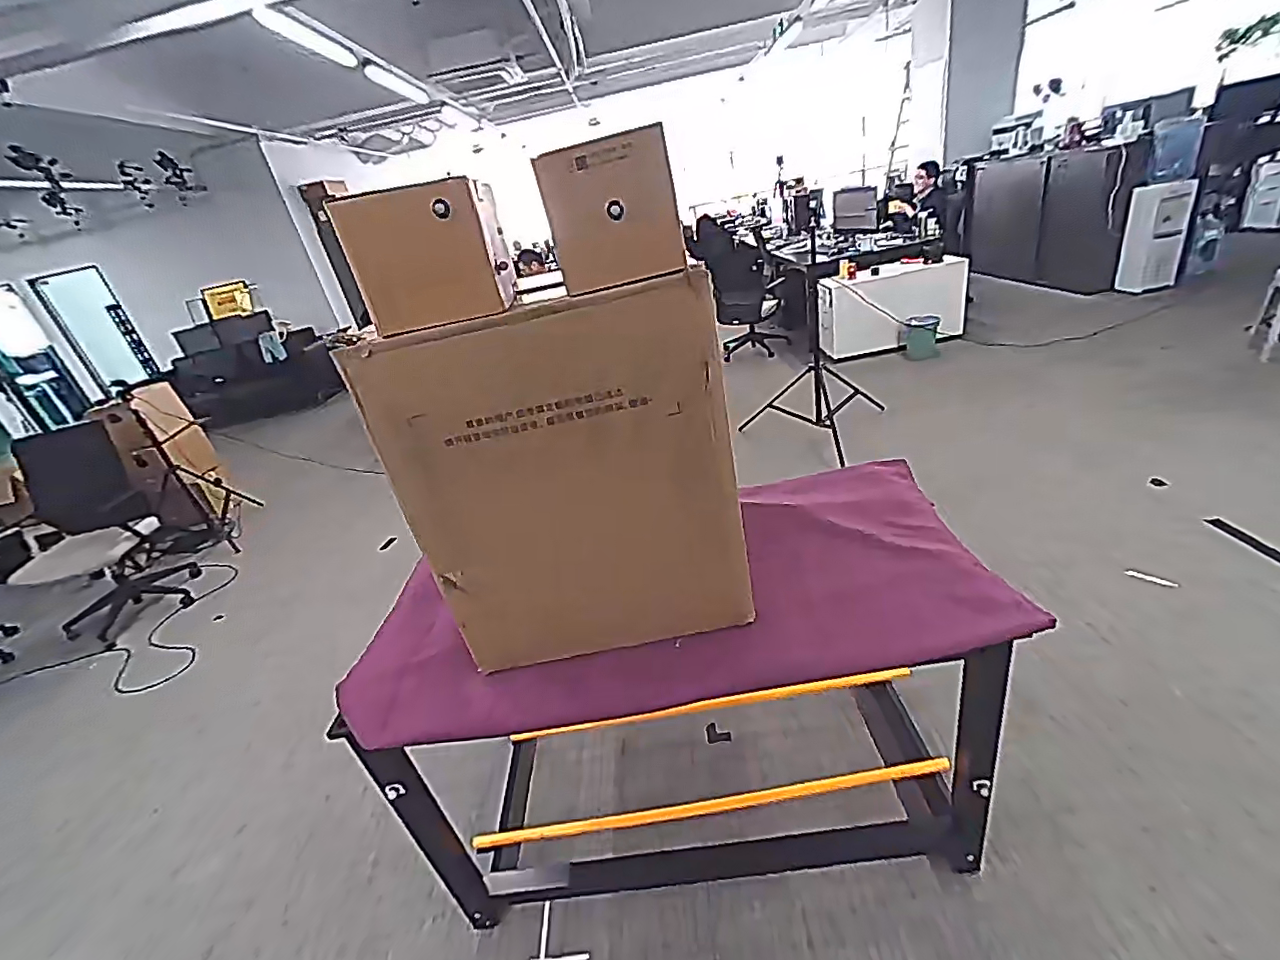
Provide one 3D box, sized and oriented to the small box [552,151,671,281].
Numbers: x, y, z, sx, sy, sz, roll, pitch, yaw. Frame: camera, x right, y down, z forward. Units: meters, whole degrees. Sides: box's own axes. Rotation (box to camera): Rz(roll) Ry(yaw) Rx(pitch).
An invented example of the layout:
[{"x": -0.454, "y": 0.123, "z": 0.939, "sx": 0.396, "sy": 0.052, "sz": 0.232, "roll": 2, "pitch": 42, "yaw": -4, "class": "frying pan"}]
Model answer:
[{"x": -0.043, "y": -0.455, "z": 0.946, "sx": 0.168, "sy": 0.176, "sz": 0.179, "roll": -11, "pitch": 27, "yaw": 5, "class": "small box"}]
